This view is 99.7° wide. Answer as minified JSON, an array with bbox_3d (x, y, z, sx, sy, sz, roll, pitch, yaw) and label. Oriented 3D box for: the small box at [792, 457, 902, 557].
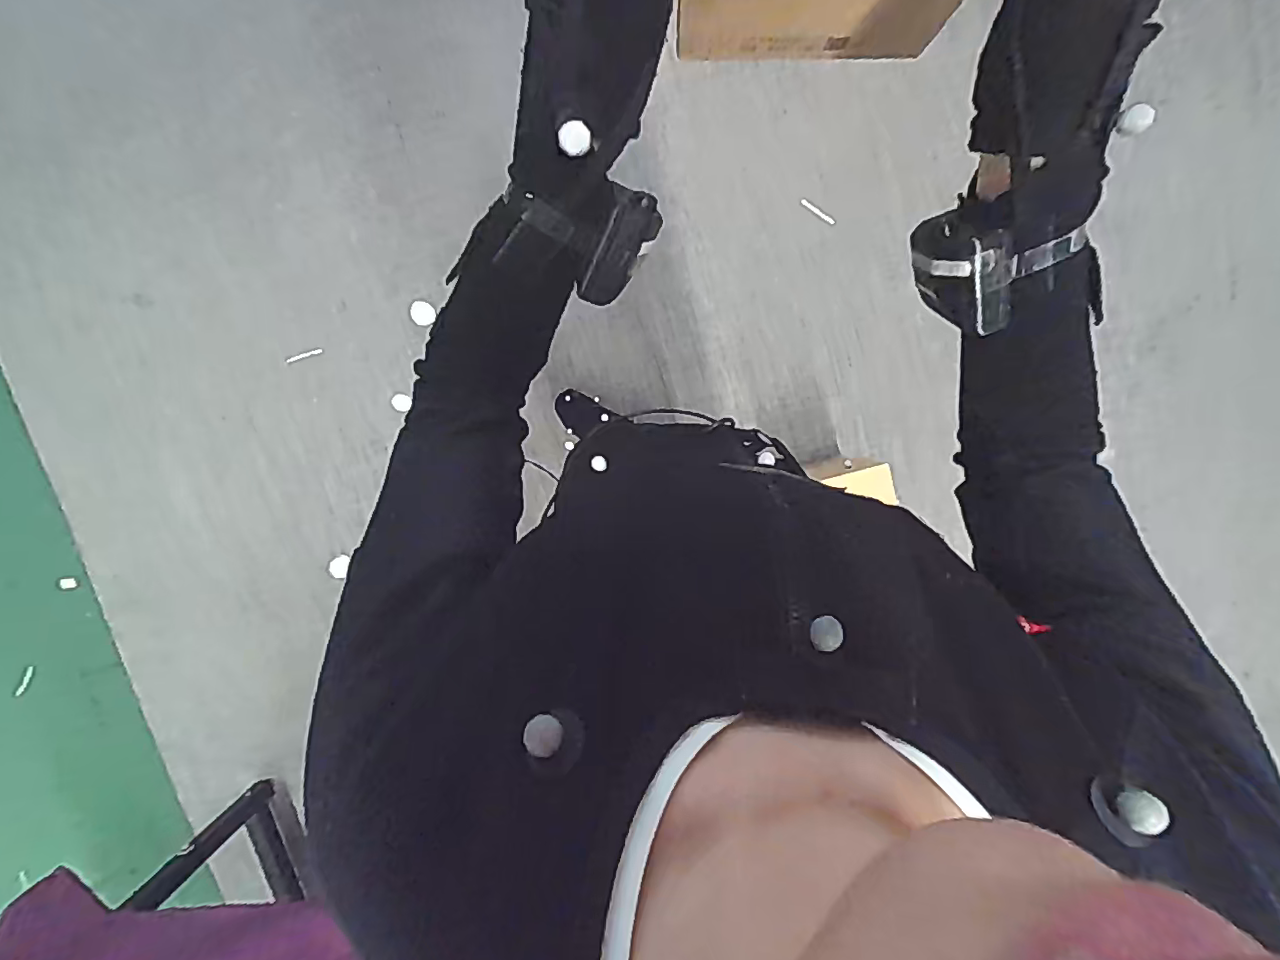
[{"bbox_3d":[0.454,0.052,1.209,0.168,0.176,0.179,-16,96,5],"label":"small box"}]
